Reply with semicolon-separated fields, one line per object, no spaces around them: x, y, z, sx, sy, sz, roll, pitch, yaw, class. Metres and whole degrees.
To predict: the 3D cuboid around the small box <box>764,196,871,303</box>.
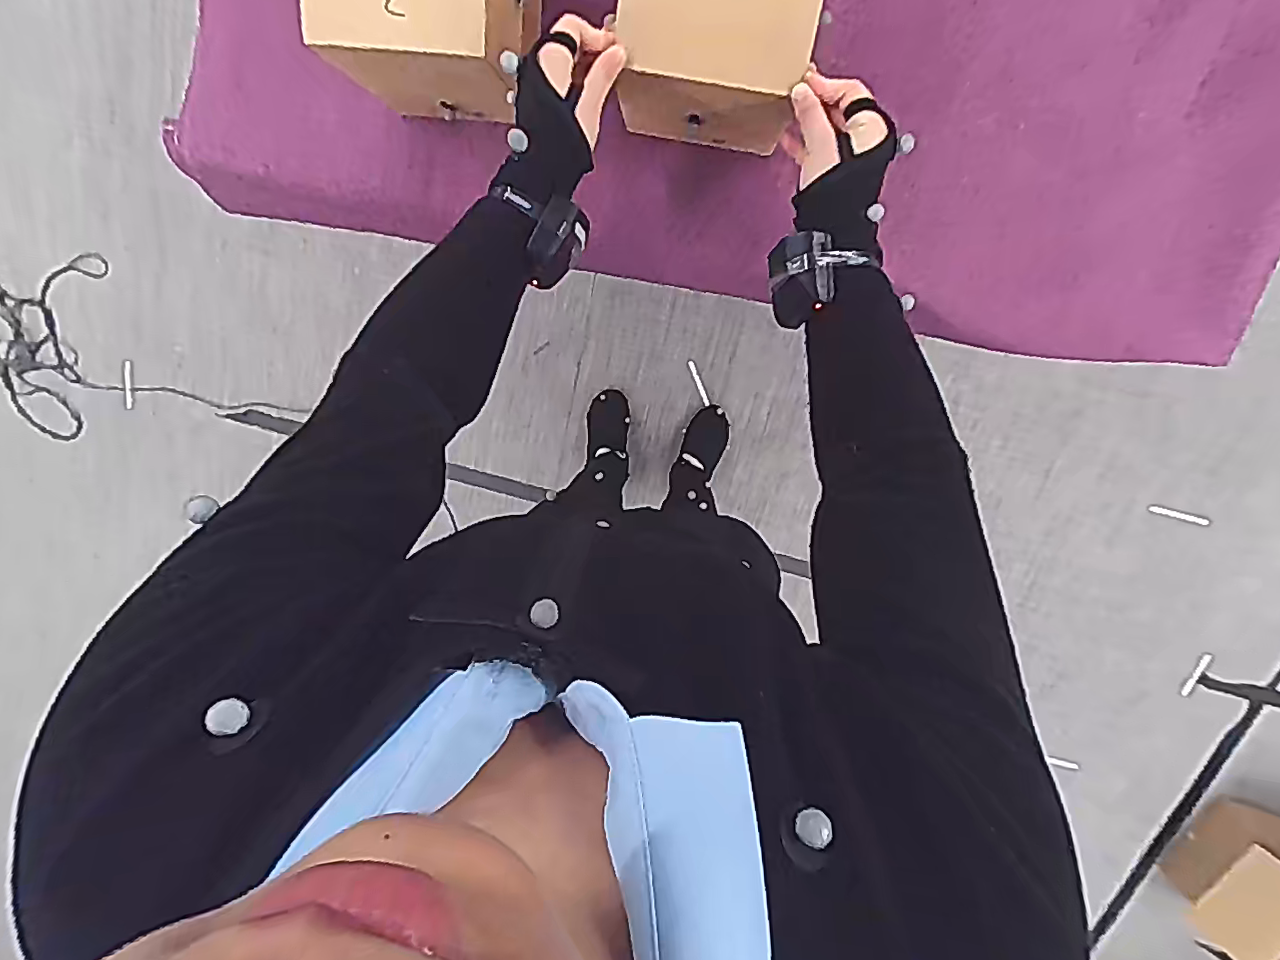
0.389;-0.511;1.226;0.168;0.176;0.179;17;106;0;small box

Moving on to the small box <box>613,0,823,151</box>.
0.077;-0.439;0.511;0.168;0.176;0.179;11;106;0;small box
